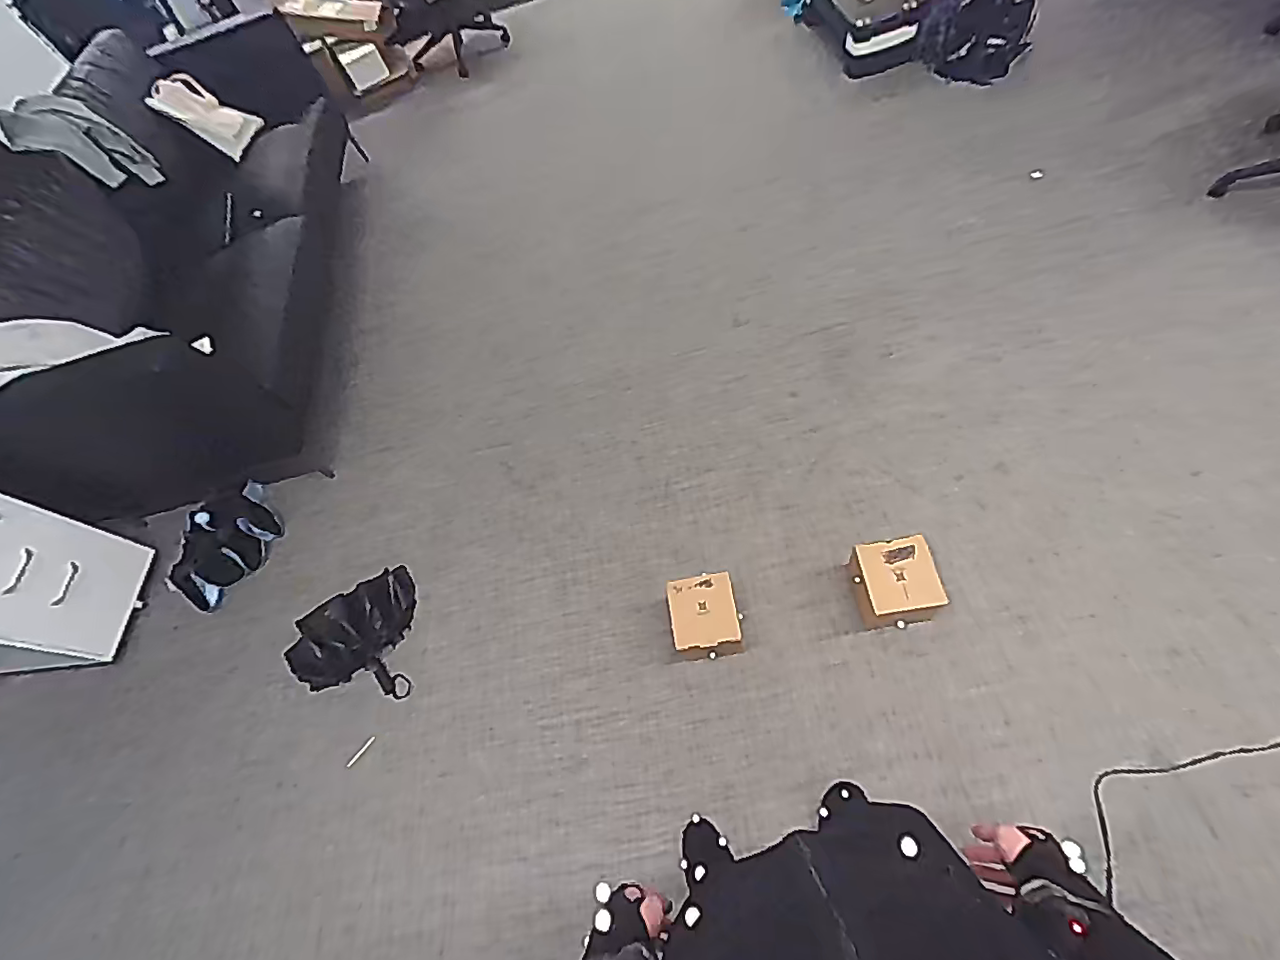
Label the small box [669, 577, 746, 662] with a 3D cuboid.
[{"bbox_3d":[0.182,0.377,1.433,0.168,0.176,0.179,-12,61,9],"label":"small box"}]

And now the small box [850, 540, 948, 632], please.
[{"bbox_3d":[0.642,0.271,1.365,0.168,0.176,0.179,-12,62,9],"label":"small box"}]
